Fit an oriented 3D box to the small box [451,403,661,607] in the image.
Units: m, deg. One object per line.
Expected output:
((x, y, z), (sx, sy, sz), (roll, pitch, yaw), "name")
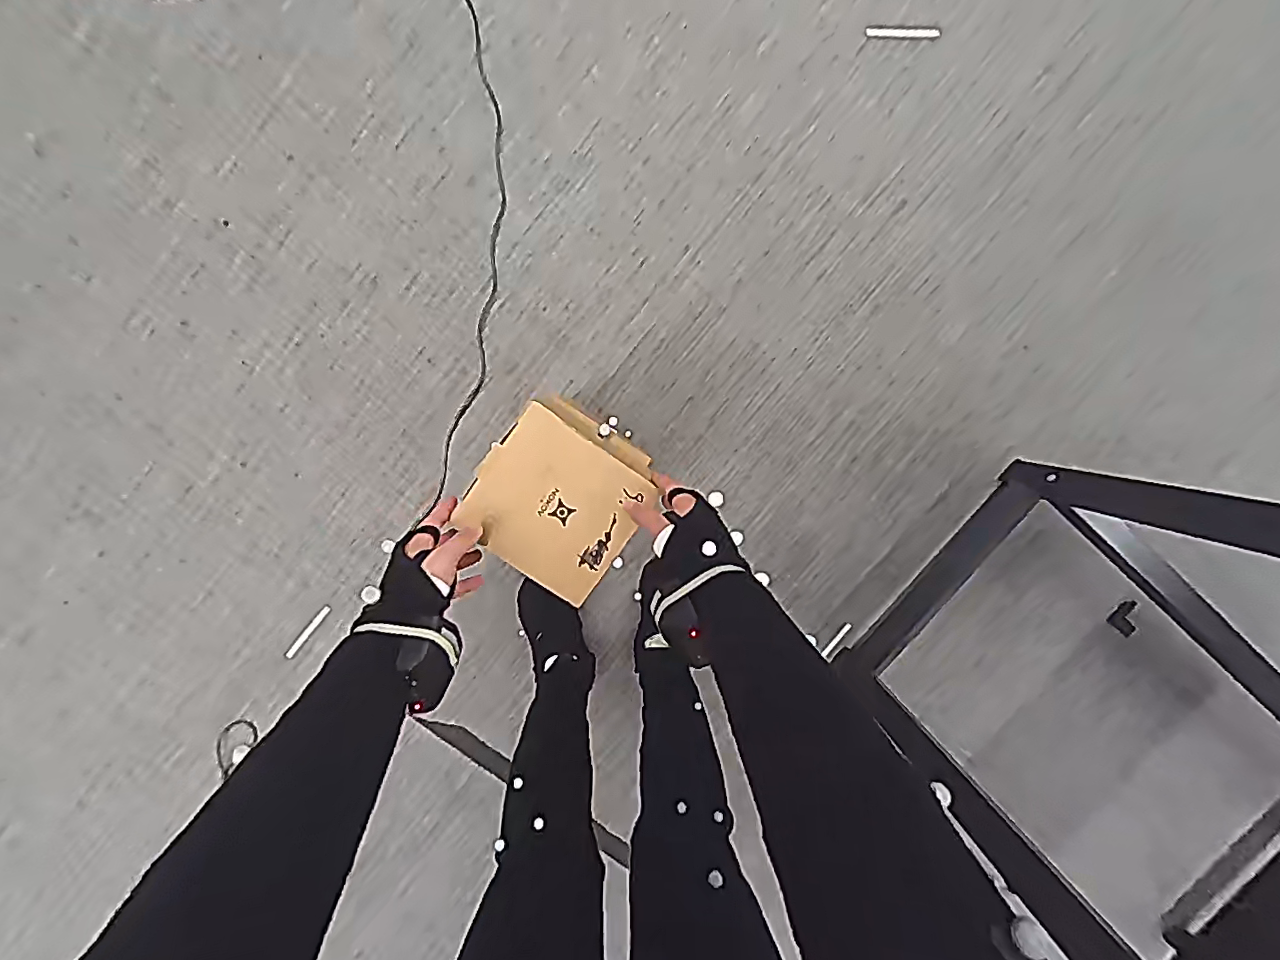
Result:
((-0.097, 0.022, 0.673), (0.179, 0.176, 0.168), (35, 95, -8), "small box")

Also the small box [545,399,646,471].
((-0.108, -0.008, 0.835), (0.168, 0.176, 0.179), (32, 94, -9), "small box")
